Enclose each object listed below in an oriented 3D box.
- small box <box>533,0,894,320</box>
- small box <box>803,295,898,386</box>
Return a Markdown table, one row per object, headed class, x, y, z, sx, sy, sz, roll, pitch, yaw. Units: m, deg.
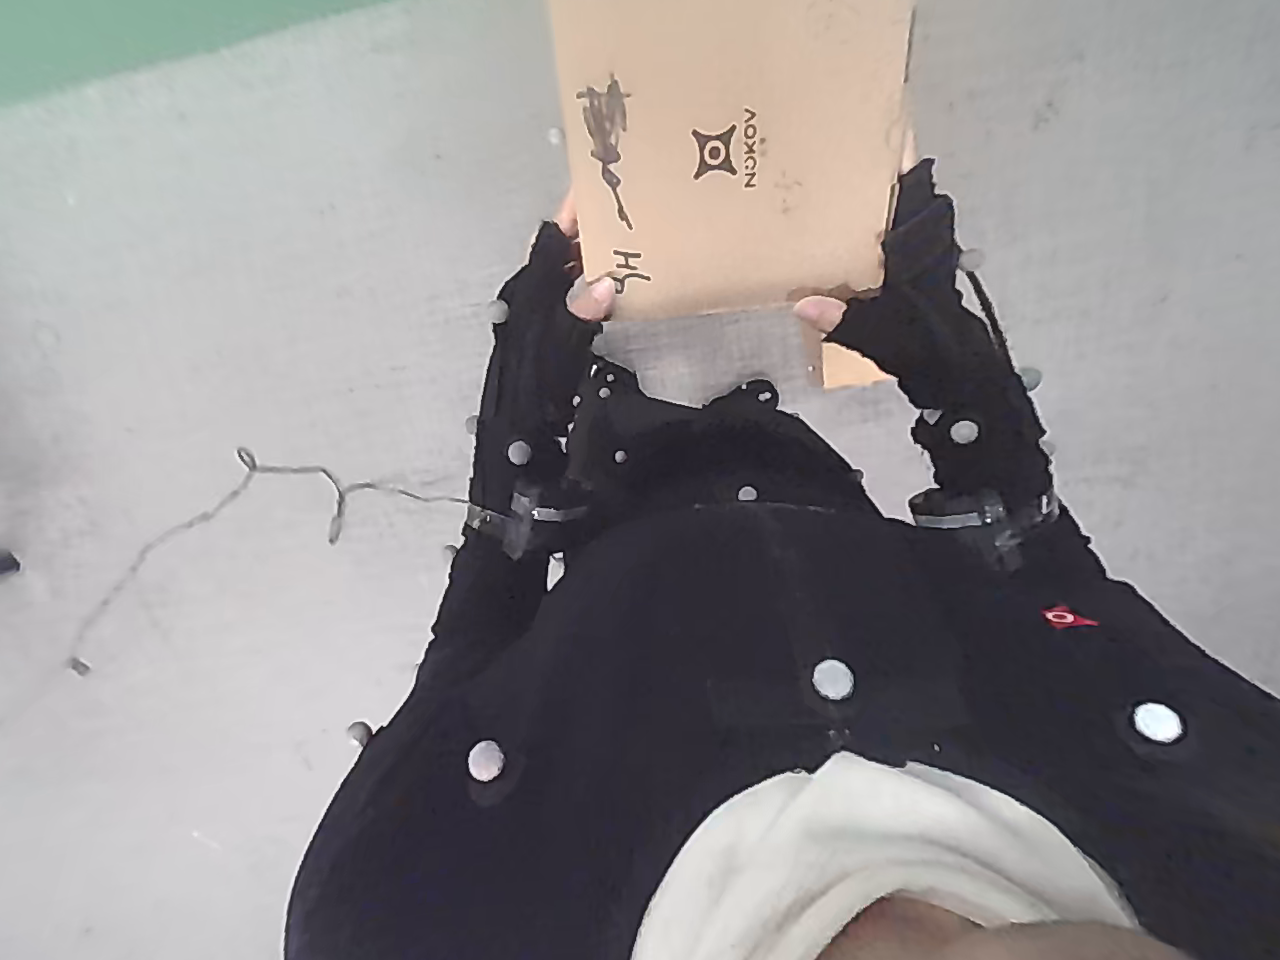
| class | x | y | z | sx | sy | sz | roll | pitch | yaw |
| --- | --- | --- | --- | --- | --- | --- | --- | --- | --- |
| small box | 0.045 | -0.215 | 0.361 | 0.179 | 0.176 | 0.168 | -5 | 117 | 6 |
| small box | 0.480 | -0.320 | 1.248 | 0.168 | 0.176 | 0.179 | -8 | 103 | 6 |
